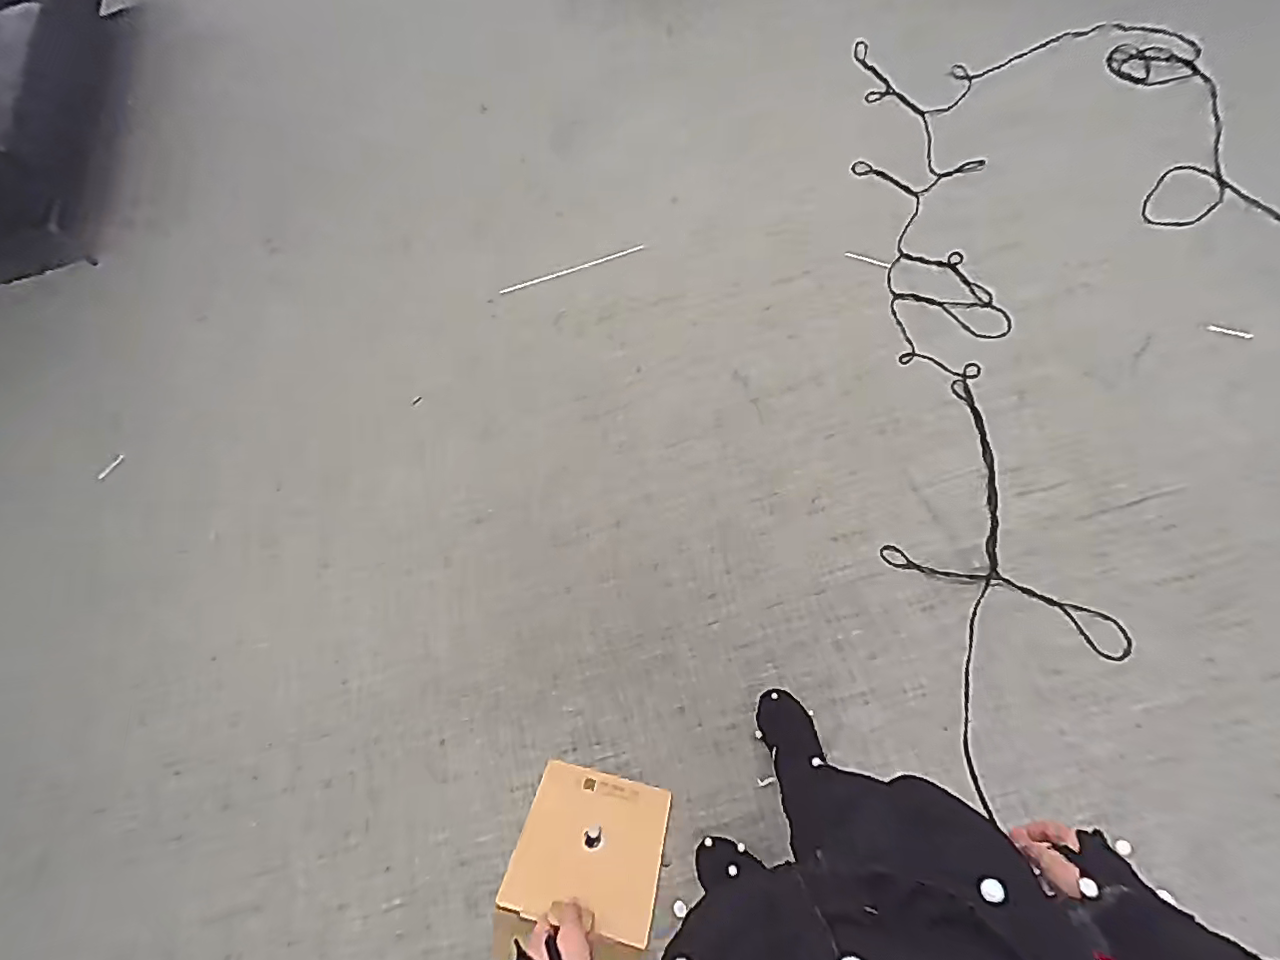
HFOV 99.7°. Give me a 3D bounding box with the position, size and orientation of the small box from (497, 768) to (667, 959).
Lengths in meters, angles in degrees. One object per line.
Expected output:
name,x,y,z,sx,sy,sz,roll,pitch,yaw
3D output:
small box,-0.065,0.490,0.663,0.168,0.179,0.176,11,31,6
